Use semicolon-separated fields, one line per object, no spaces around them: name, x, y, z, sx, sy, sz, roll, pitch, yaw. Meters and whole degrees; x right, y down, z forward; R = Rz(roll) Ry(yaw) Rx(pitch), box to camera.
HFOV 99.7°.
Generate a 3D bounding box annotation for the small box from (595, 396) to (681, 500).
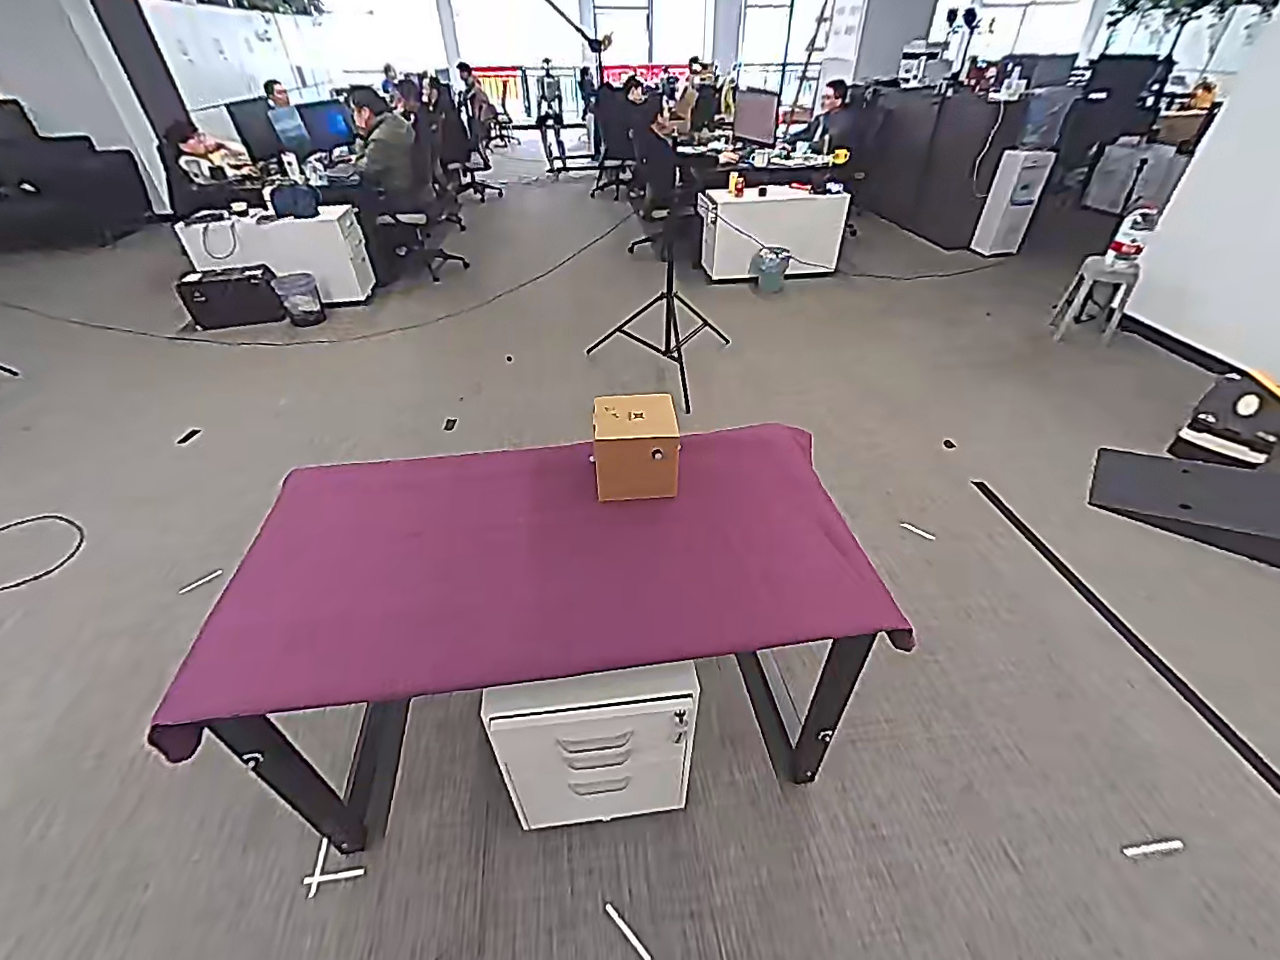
small box;-0.008;-0.070;1.201;0.179;0.176;0.168;-4;40;-3
